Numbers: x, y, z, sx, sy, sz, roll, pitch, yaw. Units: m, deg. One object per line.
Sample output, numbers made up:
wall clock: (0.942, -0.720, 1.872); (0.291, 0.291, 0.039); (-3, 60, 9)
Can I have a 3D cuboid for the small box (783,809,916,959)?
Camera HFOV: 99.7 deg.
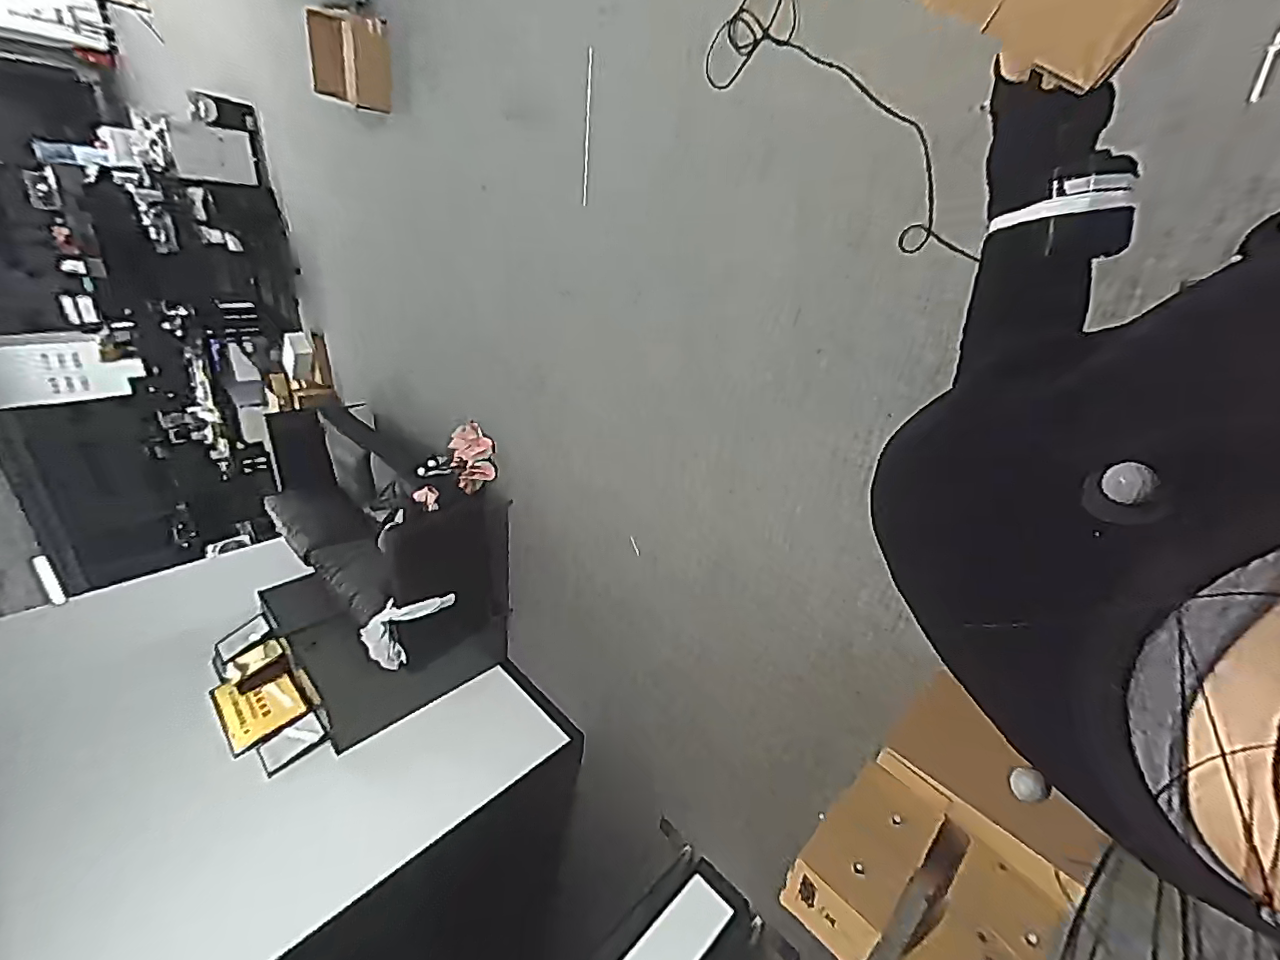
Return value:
small box: (0.429, 0.820, 1.110); (0.179, 0.176, 0.168); (29, 124, 35)
